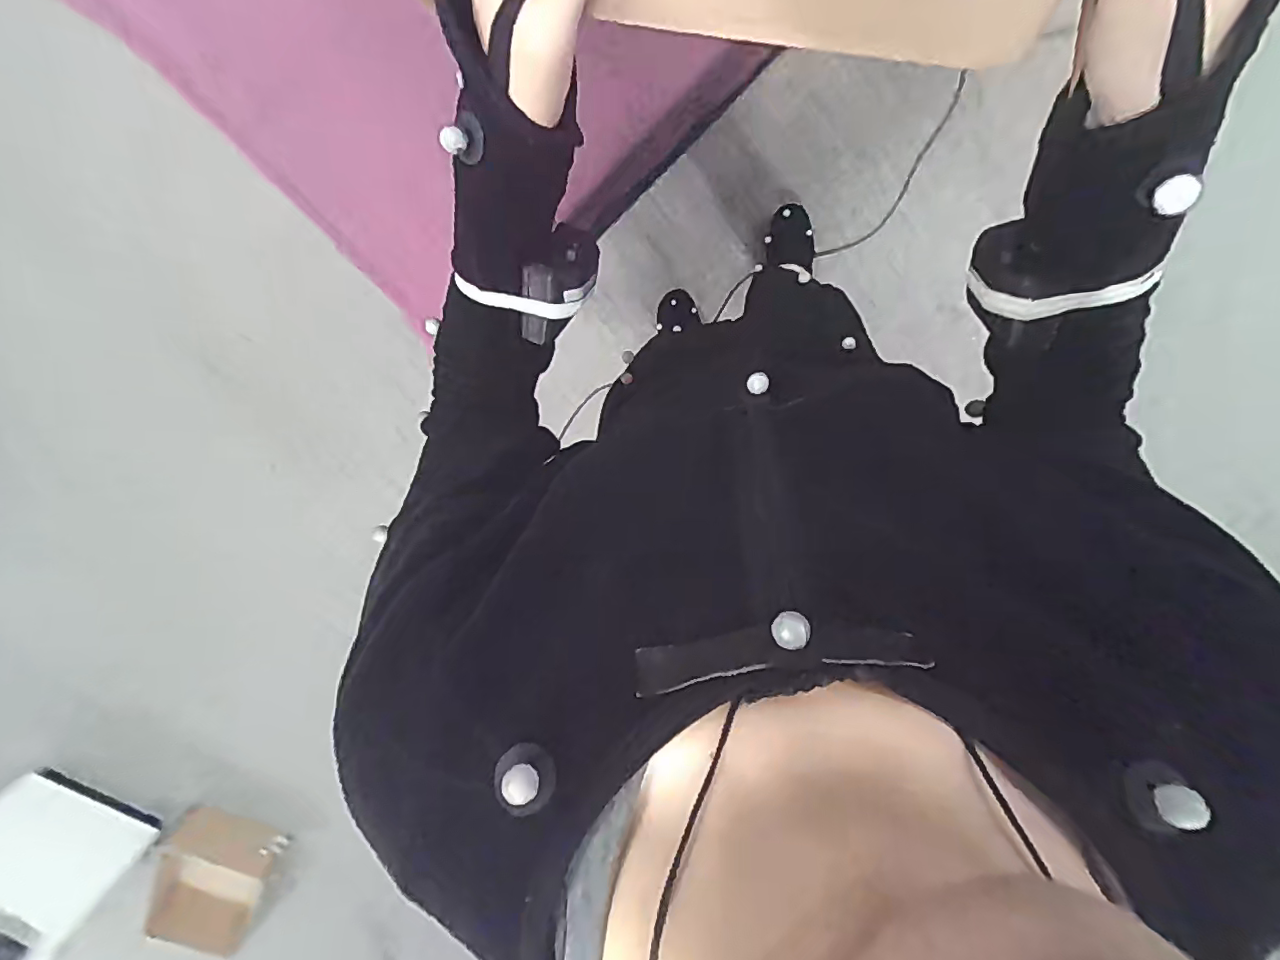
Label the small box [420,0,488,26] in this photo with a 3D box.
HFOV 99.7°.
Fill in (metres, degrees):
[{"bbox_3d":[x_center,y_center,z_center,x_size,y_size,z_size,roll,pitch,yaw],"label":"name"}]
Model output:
[{"bbox_3d":[-0.185,-0.572,0.487,0.179,0.176,0.168,-30,107,12],"label":"small box"}]
